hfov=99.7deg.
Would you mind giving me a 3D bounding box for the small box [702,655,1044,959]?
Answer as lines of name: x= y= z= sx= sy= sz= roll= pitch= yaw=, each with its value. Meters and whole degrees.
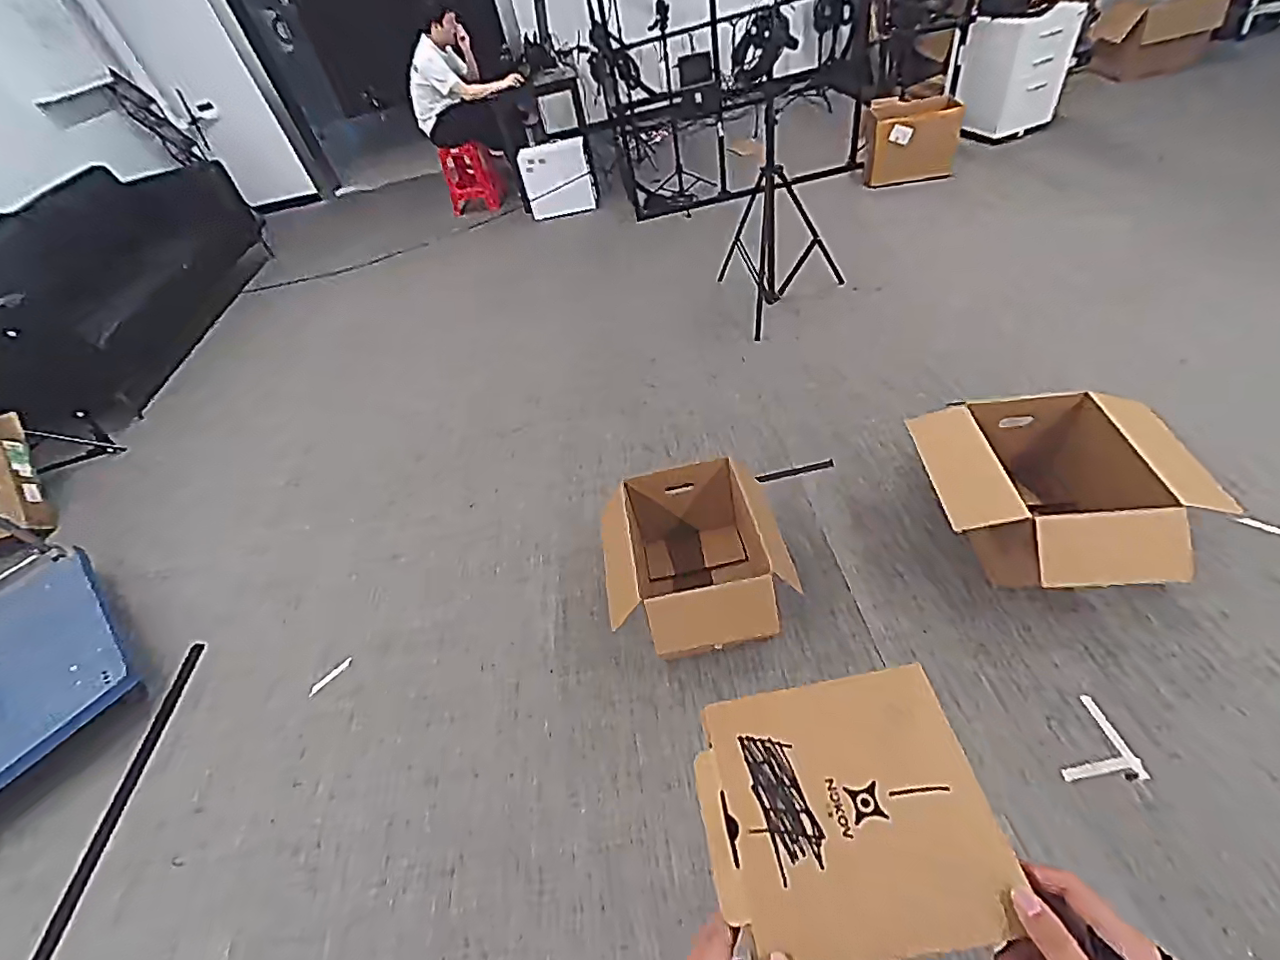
small box: x=0.155 y=0.264 z=0.430 sx=0.179 sy=0.176 sz=0.168 roll=-11 pitch=51 yaw=0
